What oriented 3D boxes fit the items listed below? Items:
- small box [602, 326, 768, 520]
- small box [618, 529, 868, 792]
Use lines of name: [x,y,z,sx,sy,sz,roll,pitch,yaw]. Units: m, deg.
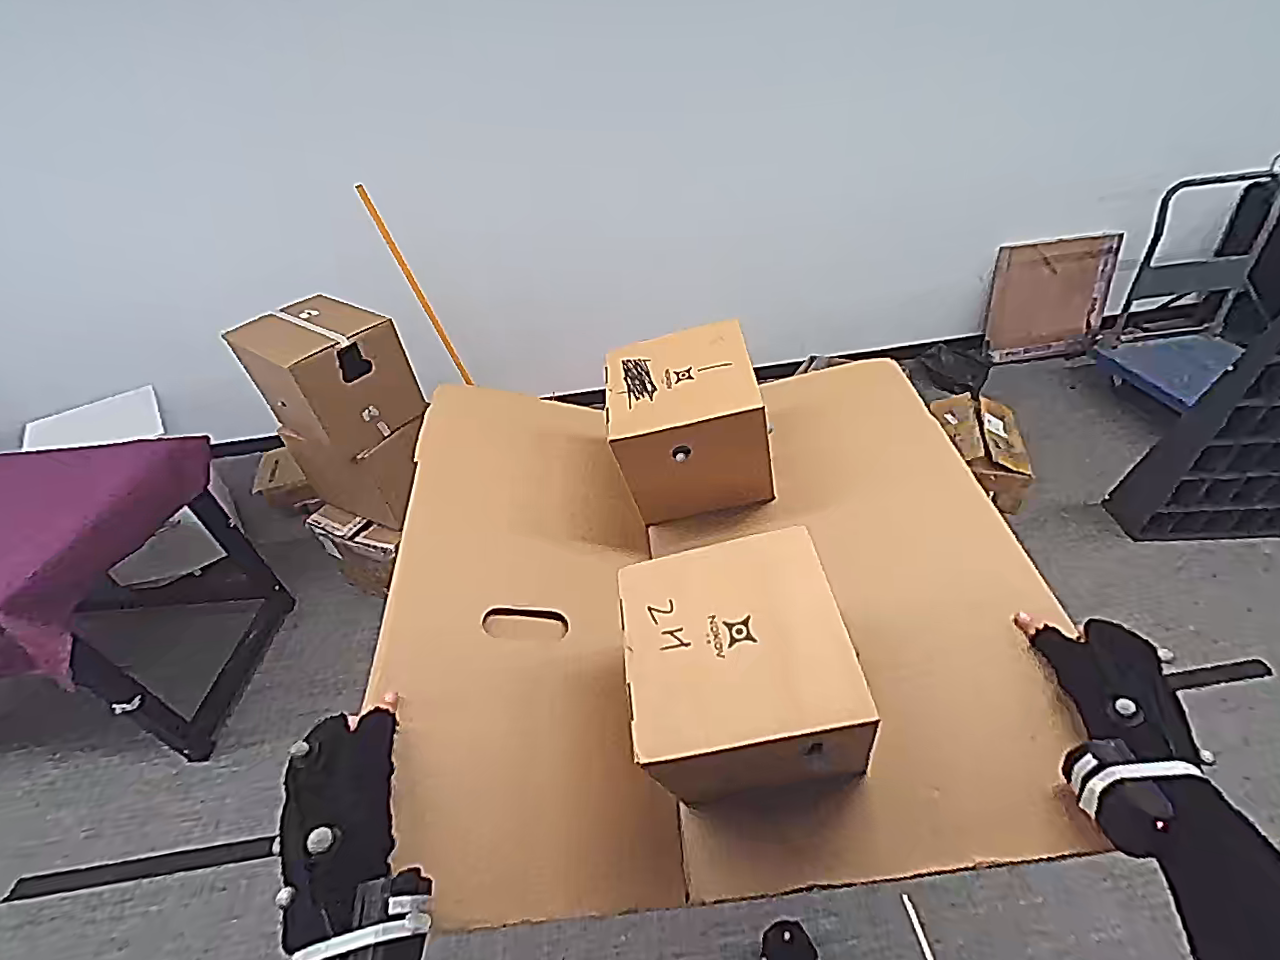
small box: [0.059,-0.066,0.706,0.179,0.176,0.168,-12,49,9]
small box: [0.091,0.173,0.501,0.179,0.176,0.168,-15,49,8]
